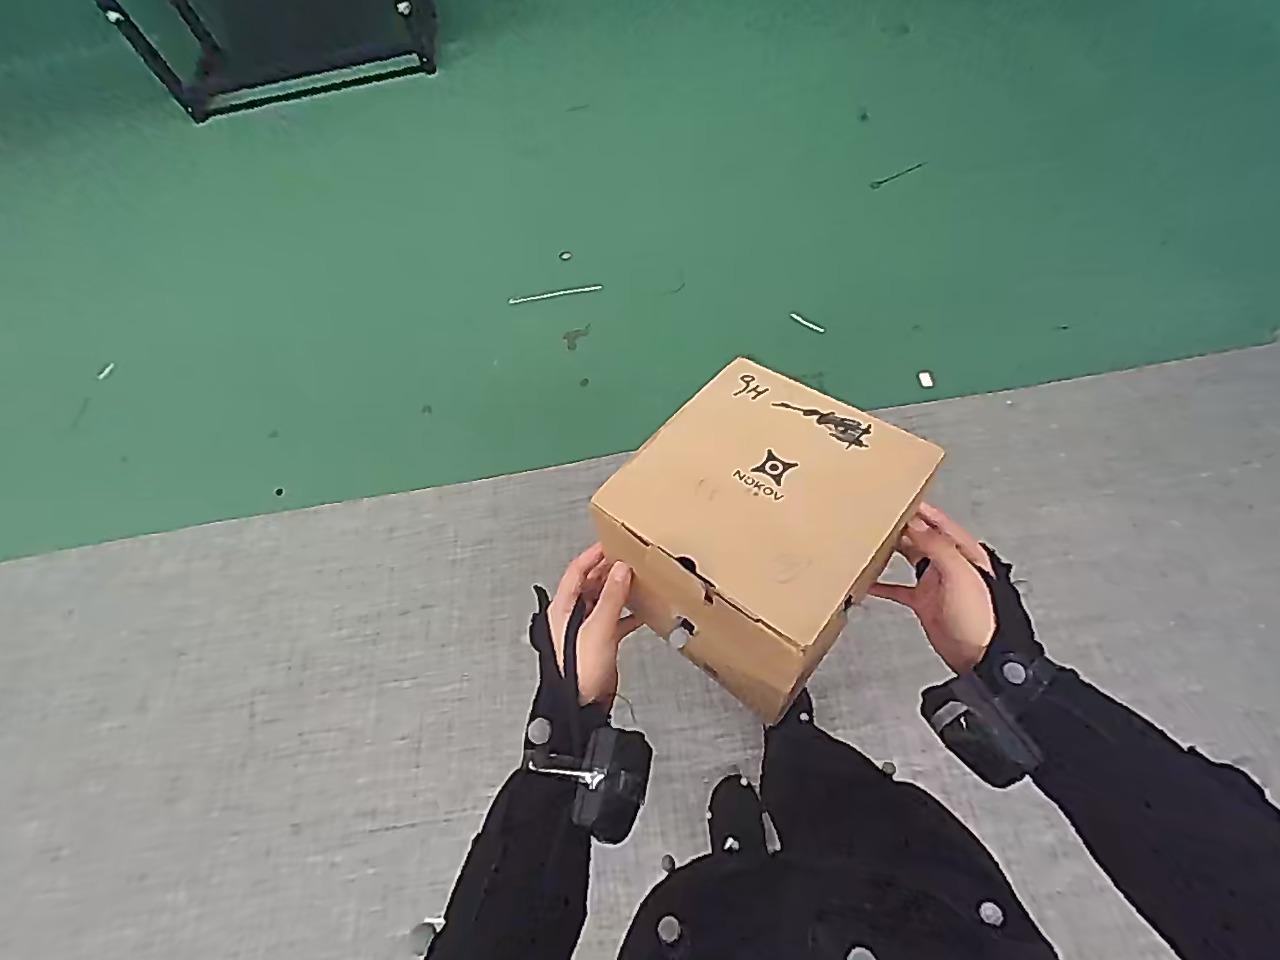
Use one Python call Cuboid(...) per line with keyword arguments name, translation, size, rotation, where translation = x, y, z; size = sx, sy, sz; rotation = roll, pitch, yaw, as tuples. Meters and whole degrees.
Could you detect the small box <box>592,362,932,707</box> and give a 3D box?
Cuboid(name="small box", translation=(0.091, 0.047, 0.428), size=(0.168, 0.176, 0.179), rotation=(32, 64, 27))
